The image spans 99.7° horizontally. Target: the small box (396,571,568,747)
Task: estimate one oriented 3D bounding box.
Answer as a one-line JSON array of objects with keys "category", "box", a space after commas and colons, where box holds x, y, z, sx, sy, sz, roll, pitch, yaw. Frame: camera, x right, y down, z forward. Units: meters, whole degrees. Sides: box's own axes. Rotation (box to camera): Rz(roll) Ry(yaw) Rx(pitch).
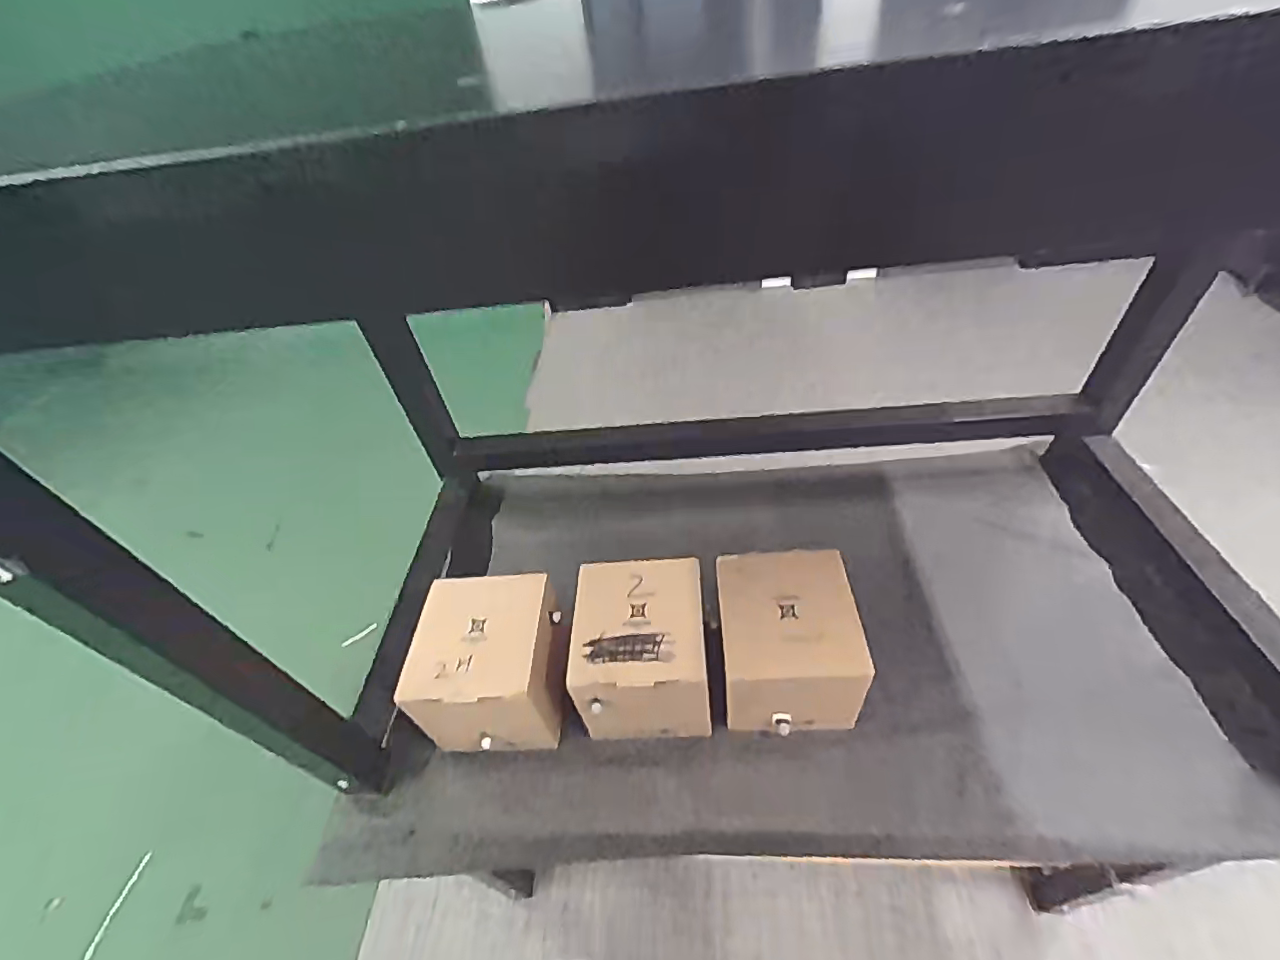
[{"category": "small box", "box": [-0.200, 0.248, 0.749, 0.168, 0.176, 0.179, -4, 45, 5]}]
